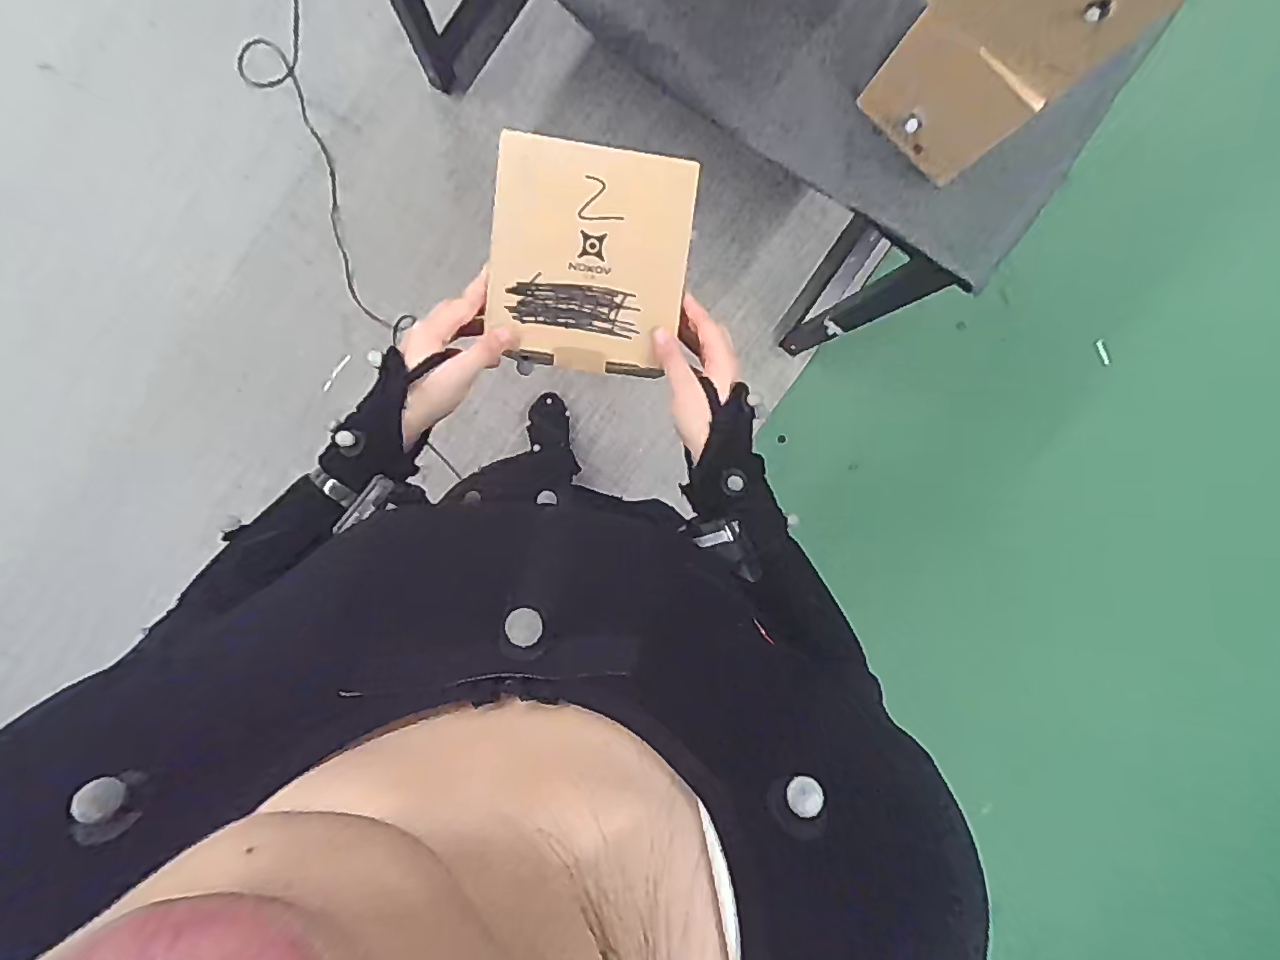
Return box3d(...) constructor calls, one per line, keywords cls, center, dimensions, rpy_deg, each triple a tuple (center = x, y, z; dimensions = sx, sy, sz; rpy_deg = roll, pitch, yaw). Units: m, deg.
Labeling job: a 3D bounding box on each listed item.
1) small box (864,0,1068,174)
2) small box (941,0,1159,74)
box3d(cls="small box", center=(0.408, -0.519, 0.644), dimensions=(0.168, 0.176, 0.179), rpy_deg=(41, 89, -5))
box3d(cls="small box", center=(0.413, -0.519, 0.482), dimensions=(0.179, 0.176, 0.168), rpy_deg=(33, 88, -4))
